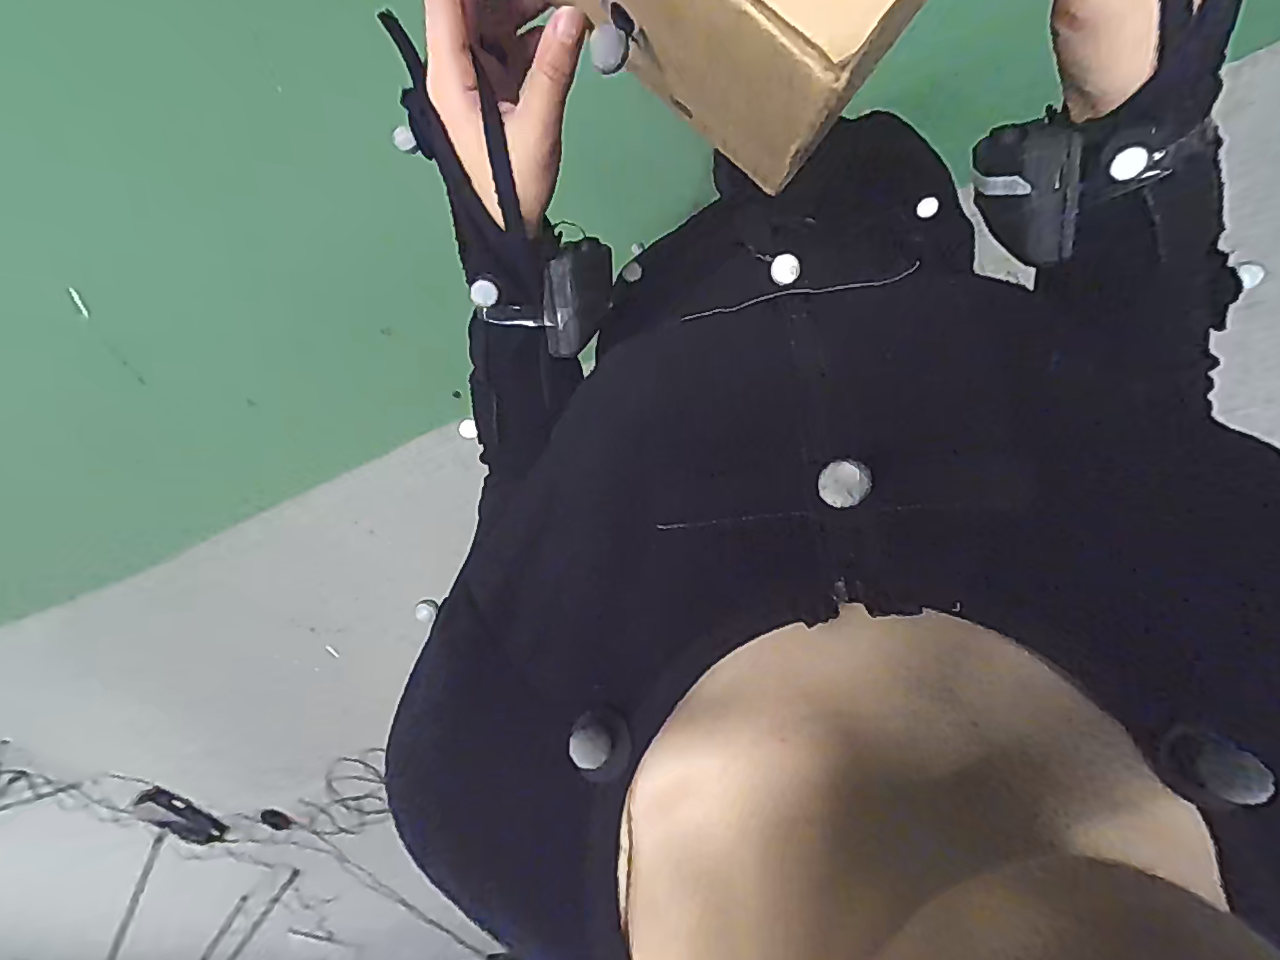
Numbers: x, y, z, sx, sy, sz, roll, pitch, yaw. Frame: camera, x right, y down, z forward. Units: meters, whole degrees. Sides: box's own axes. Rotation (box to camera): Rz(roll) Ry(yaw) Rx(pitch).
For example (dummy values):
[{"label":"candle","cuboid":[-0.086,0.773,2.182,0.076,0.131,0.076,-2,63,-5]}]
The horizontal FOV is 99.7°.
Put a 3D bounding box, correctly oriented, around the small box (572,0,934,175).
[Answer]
[{"label":"small box","cuboid":[0.049,-0.234,0.173,0.168,0.176,0.179,38,112,-5]}]
